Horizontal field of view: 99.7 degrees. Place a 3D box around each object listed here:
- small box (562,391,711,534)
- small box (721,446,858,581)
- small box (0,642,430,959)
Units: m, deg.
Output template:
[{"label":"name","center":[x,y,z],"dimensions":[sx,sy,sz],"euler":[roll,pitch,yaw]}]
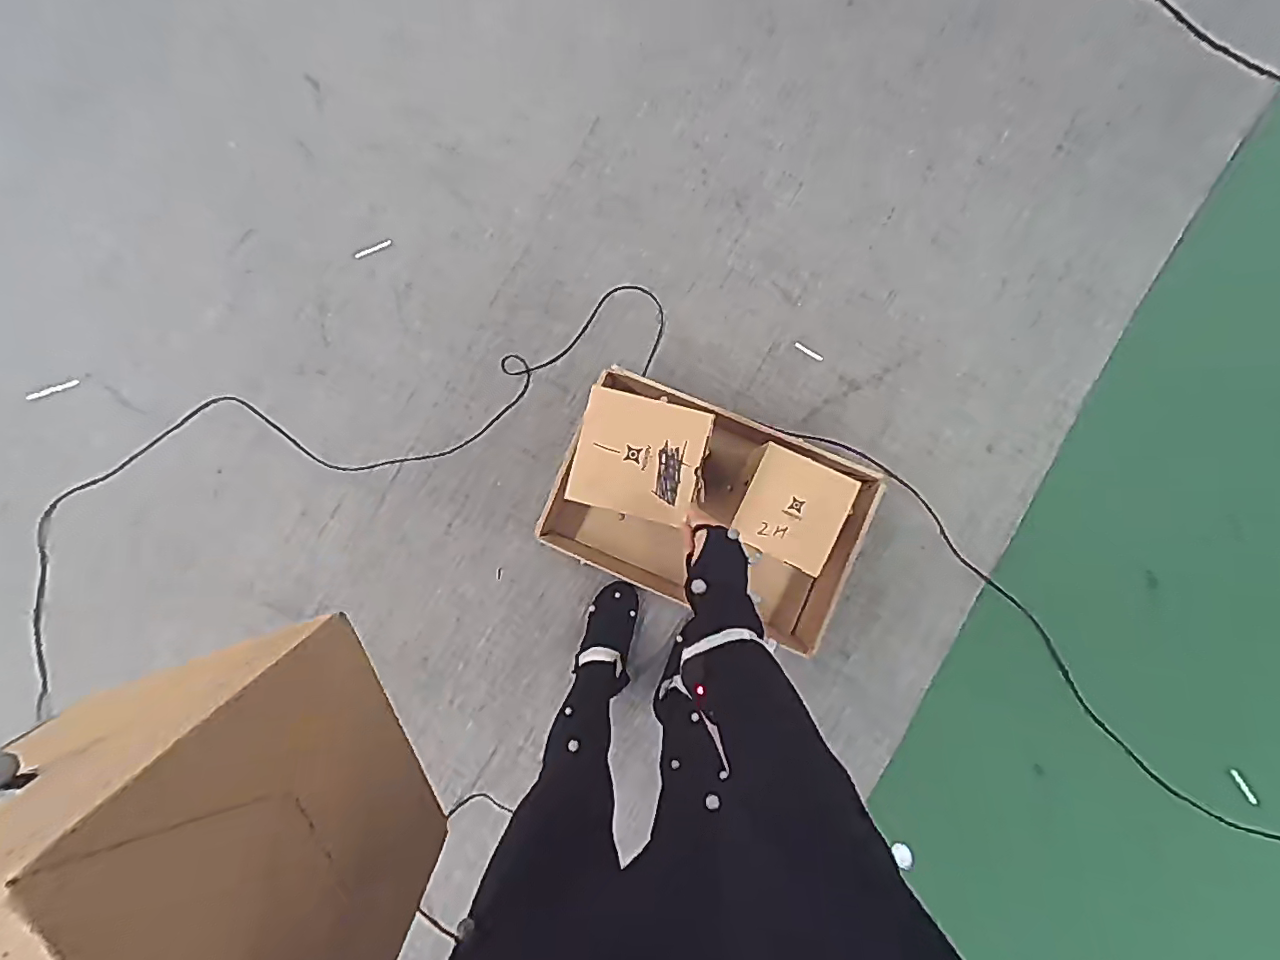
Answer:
[{"label":"small box","center":[-0.001,-0.025,0.826],"dimensions":[0.179,0.176,0.168],"euler":[14,90,3]},{"label":"small box","center":[0.255,0.056,0.970],"dimensions":[0.168,0.176,0.179],"euler":[25,90,4]},{"label":"small box","center":[-0.232,0.202,0.262],"dimensions":[0.176,0.179,0.168],"euler":[-15,101,2]}]
